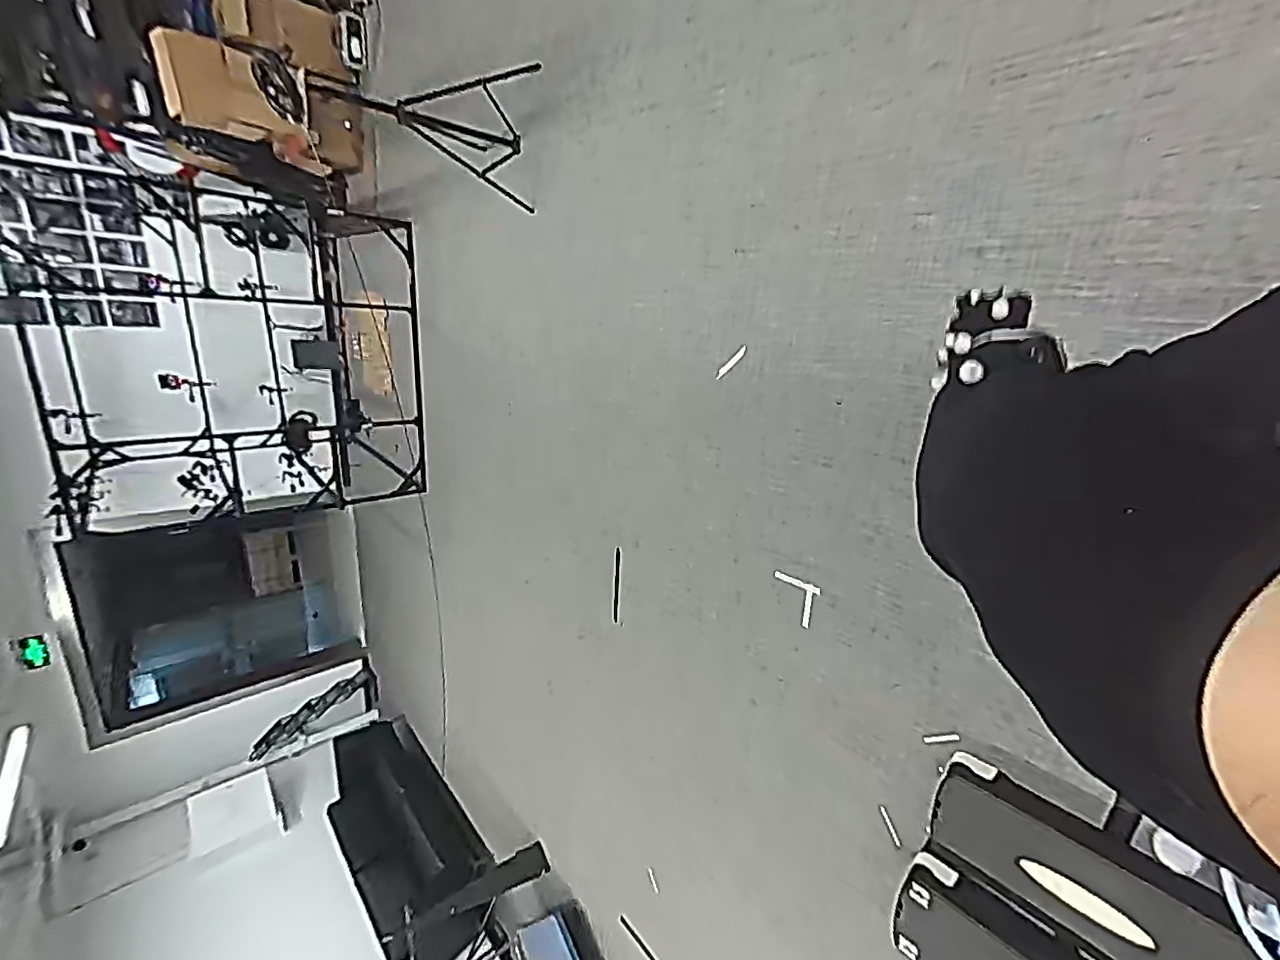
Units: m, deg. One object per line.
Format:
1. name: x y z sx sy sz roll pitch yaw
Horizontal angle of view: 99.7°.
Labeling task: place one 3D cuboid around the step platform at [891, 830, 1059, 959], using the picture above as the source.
1. step platform: 0.996 1.244 1.343 0.684 0.204 0.286 19 113 47
